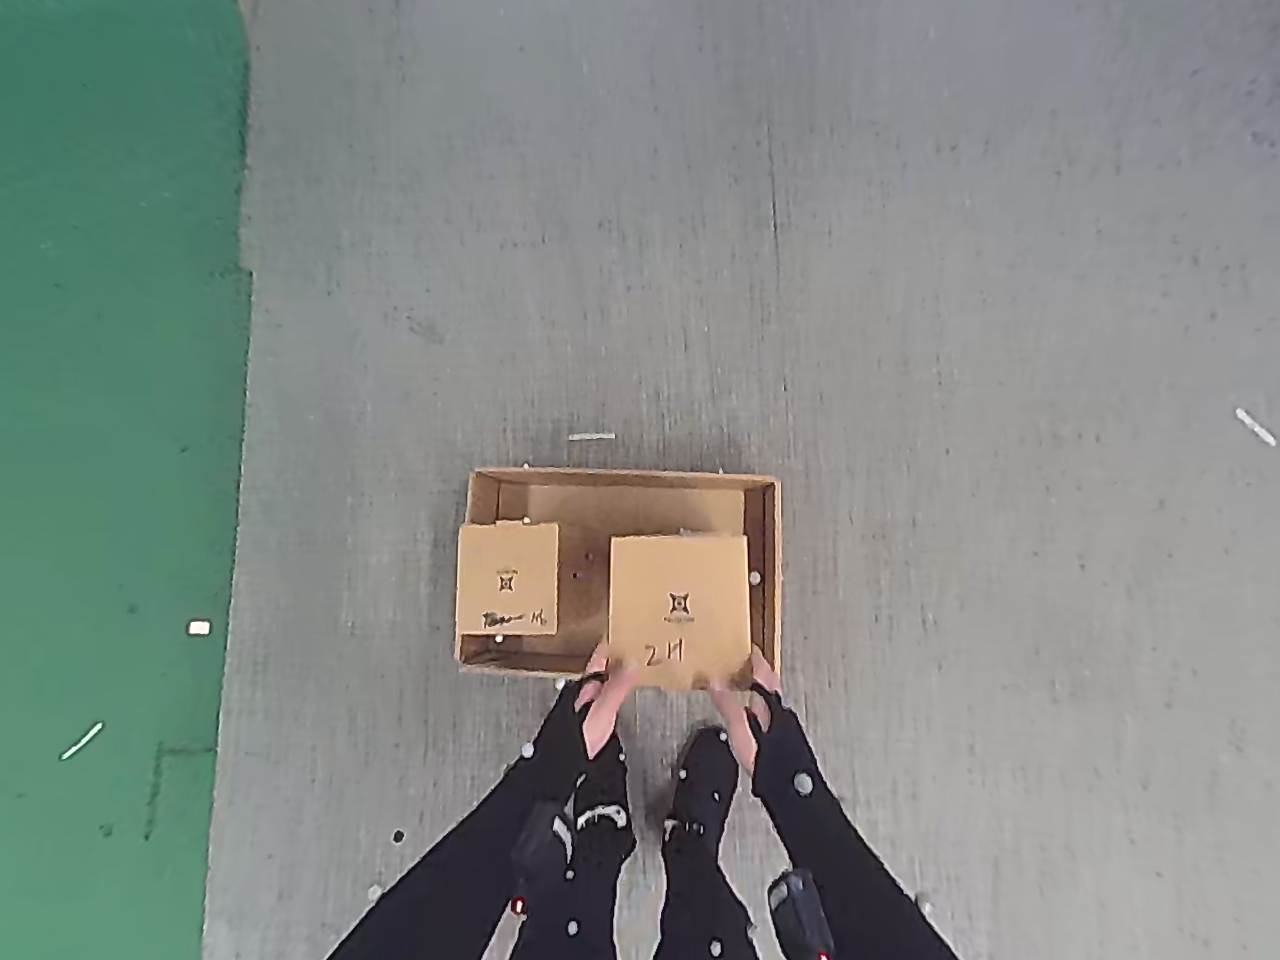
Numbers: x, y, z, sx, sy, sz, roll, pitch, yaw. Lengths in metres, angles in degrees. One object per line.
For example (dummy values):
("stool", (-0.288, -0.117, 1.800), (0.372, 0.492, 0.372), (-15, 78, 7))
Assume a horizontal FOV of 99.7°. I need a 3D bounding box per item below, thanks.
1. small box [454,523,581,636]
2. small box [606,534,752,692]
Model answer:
("small box", (-0.201, 0.170, 0.931), (0.168, 0.176, 0.179), (-1, 80, 7))
("small box", (0.052, 0.170, 0.699), (0.168, 0.176, 0.179), (-1, 75, 7))
